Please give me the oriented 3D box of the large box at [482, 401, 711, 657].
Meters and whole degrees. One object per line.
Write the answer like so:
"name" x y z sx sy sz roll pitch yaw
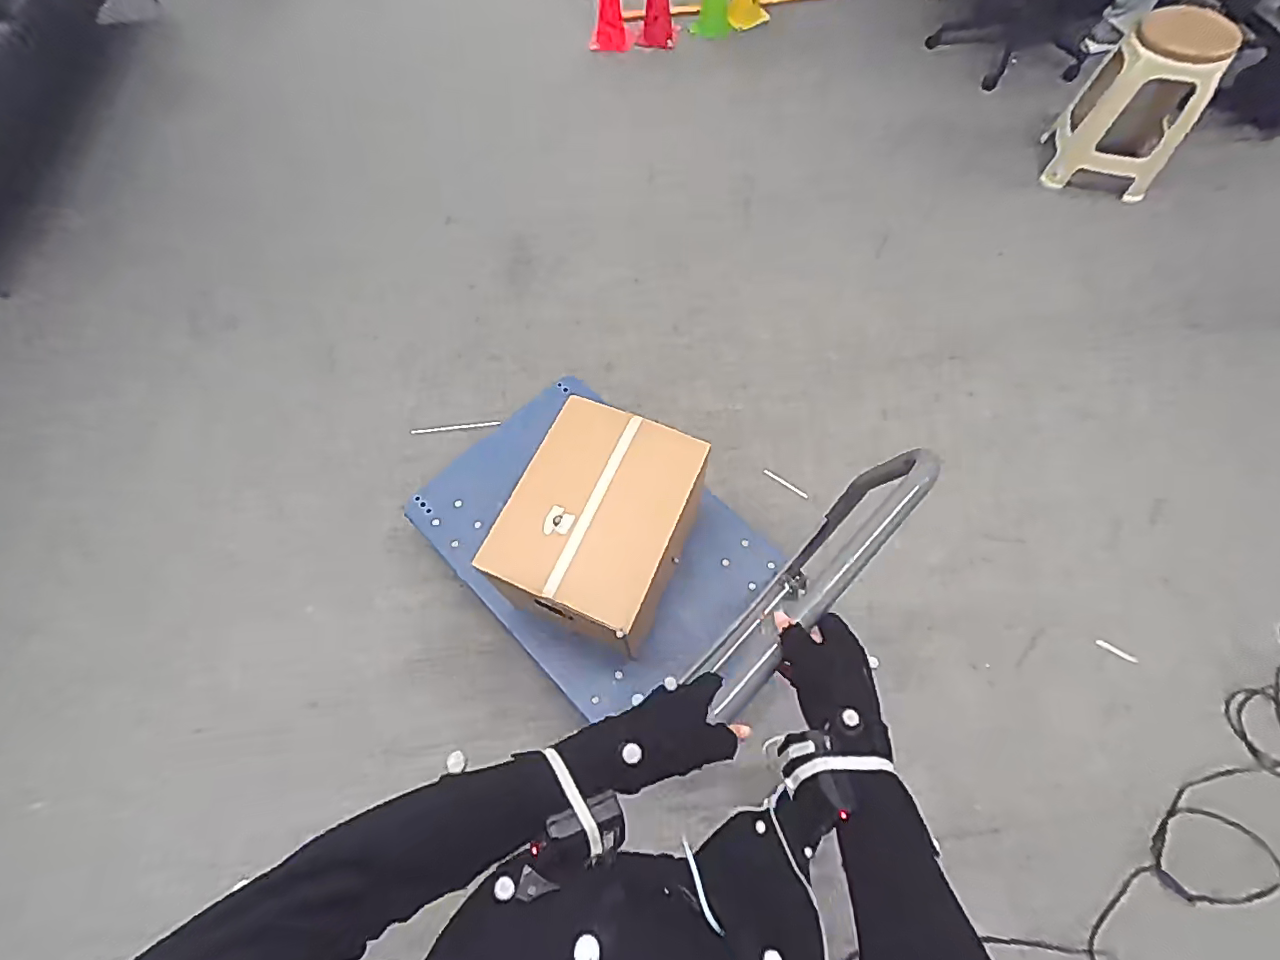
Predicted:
"large box" -0.070 0.112 1.157 0.320 0.320 0.408 21 67 12
